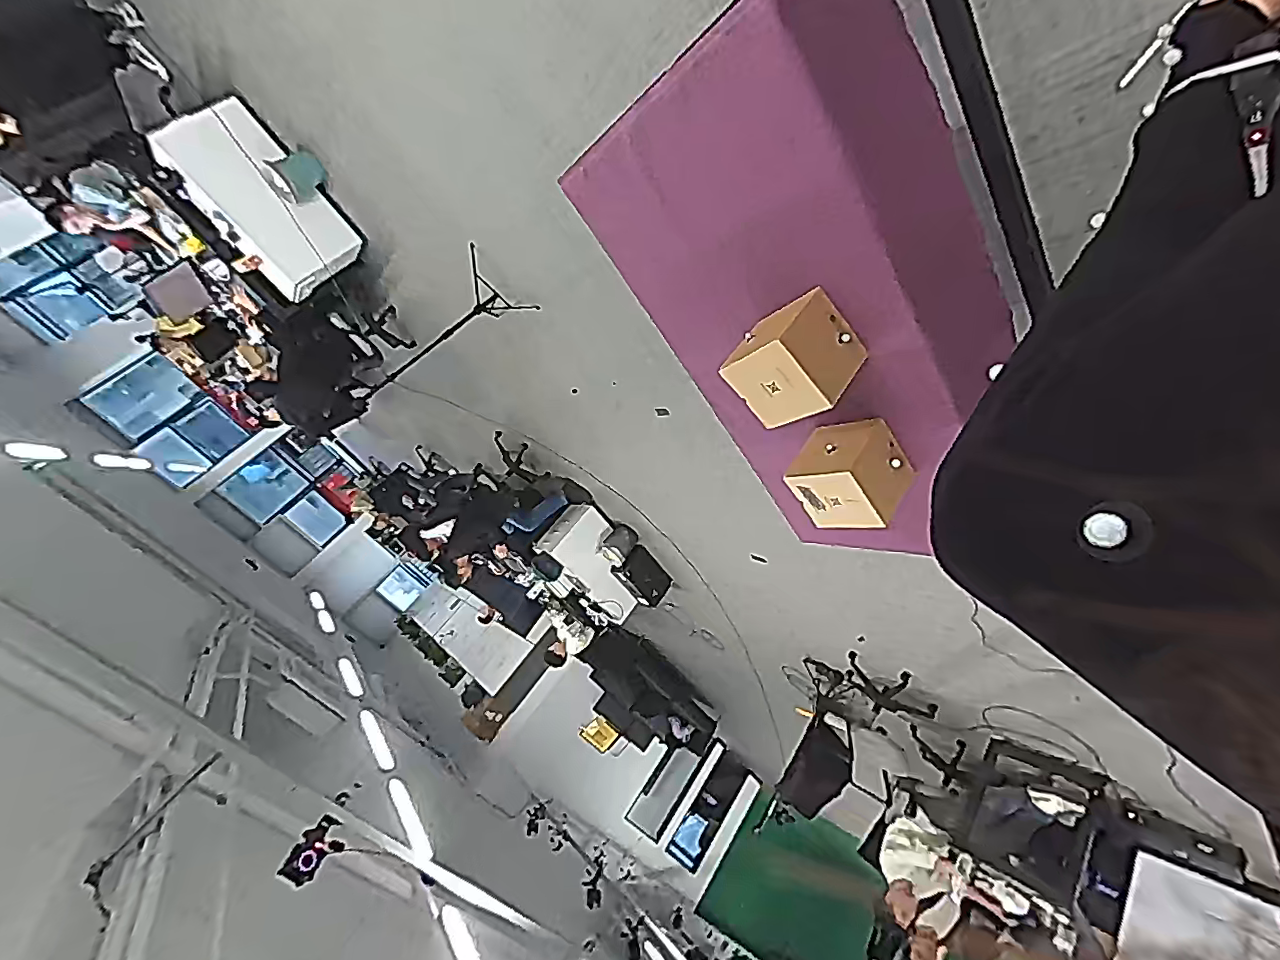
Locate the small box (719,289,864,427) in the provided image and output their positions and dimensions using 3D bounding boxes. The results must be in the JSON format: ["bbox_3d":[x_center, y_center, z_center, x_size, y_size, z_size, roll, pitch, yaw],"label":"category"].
[{"bbox_3d":[0.295,-0.233,1.053,0.168,0.176,0.179,45,156,-15],"label":"small box"}]

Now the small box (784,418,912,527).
[{"bbox_3d":[0.460,-0.015,1.192,0.168,0.176,0.179,49,154,-20],"label":"small box"}]
